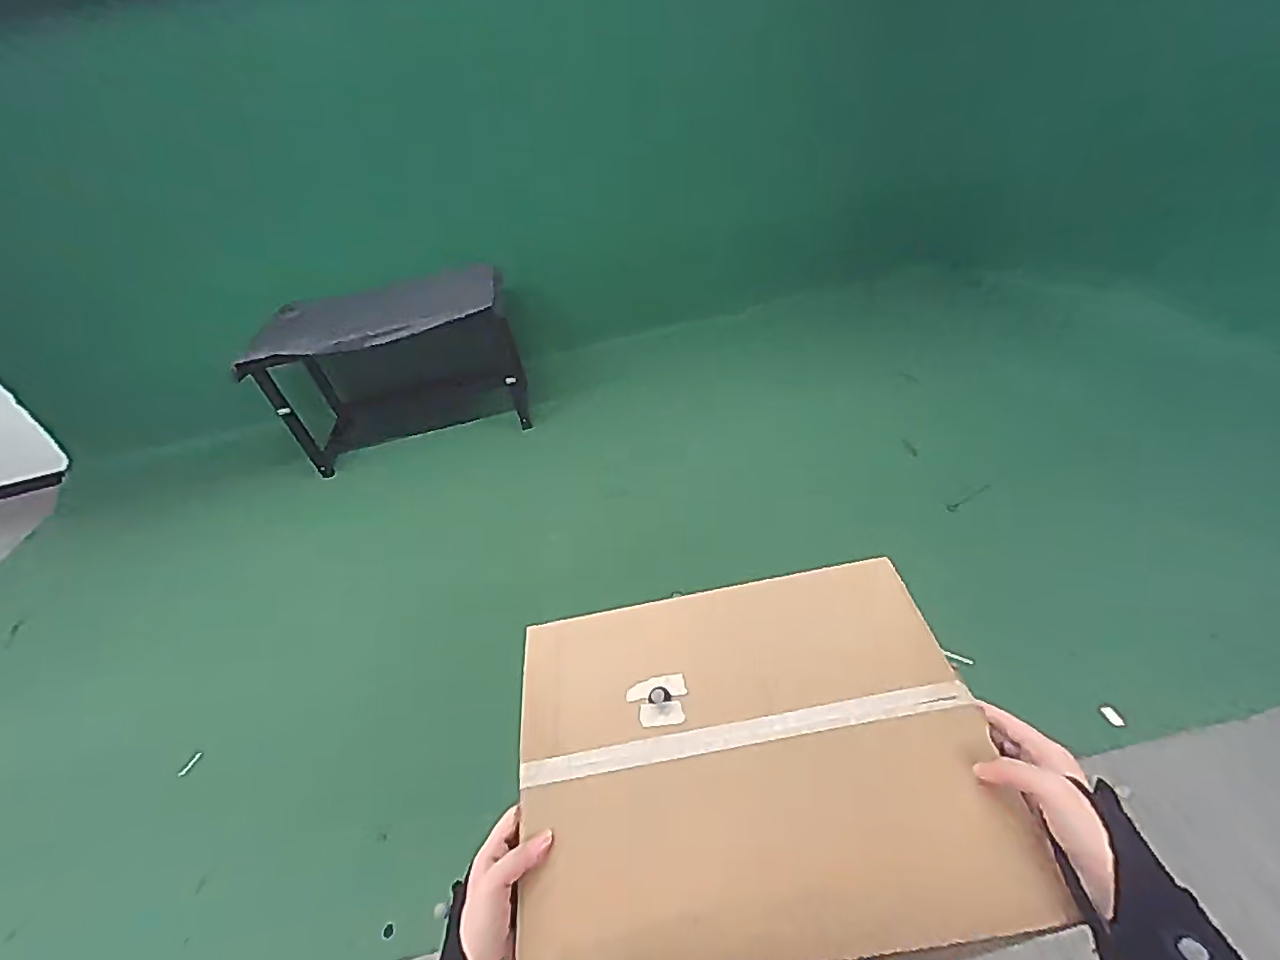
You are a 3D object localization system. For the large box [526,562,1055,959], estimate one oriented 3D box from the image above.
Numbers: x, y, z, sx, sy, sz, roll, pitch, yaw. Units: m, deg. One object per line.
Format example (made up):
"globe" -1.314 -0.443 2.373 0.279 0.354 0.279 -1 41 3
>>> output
"large box" 0.119 0.341 0.603 0.408 0.320 0.320 -13 44 4
